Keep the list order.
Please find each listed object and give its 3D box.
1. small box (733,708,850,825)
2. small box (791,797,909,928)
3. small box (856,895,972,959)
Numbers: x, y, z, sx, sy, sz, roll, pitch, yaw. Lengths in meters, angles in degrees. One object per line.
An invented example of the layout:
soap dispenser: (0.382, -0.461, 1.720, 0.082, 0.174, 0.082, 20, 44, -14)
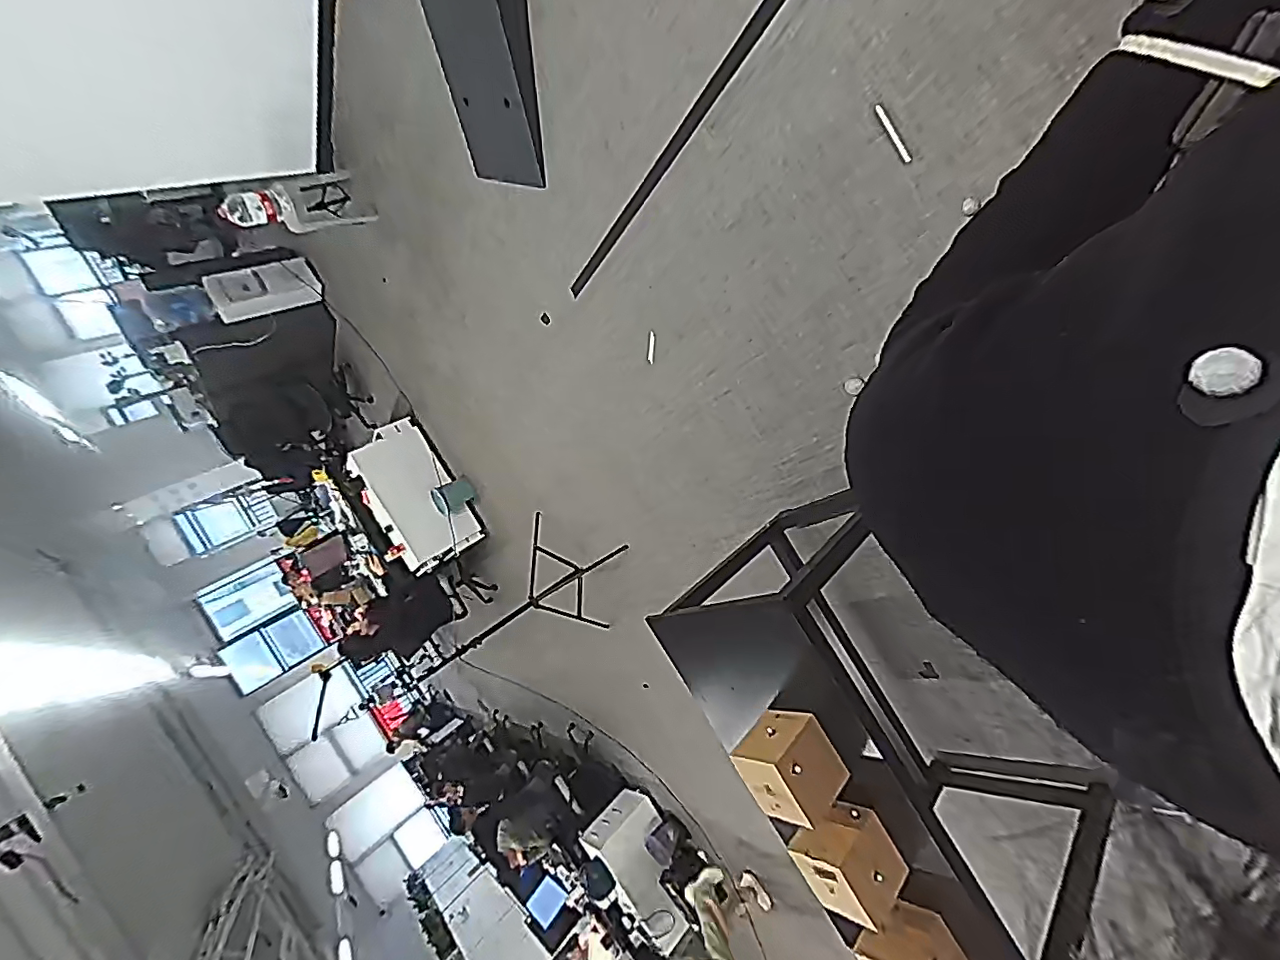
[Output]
small box: (0.364, 0.675, 1.300, 0.179, 0.176, 0.168, 58, 147, 0)
small box: (0.507, 0.905, 1.305, 0.179, 0.176, 0.168, 58, 146, -2)
small box: (0.667, 1.153, 1.301, 0.179, 0.176, 0.168, 57, 147, 1)
